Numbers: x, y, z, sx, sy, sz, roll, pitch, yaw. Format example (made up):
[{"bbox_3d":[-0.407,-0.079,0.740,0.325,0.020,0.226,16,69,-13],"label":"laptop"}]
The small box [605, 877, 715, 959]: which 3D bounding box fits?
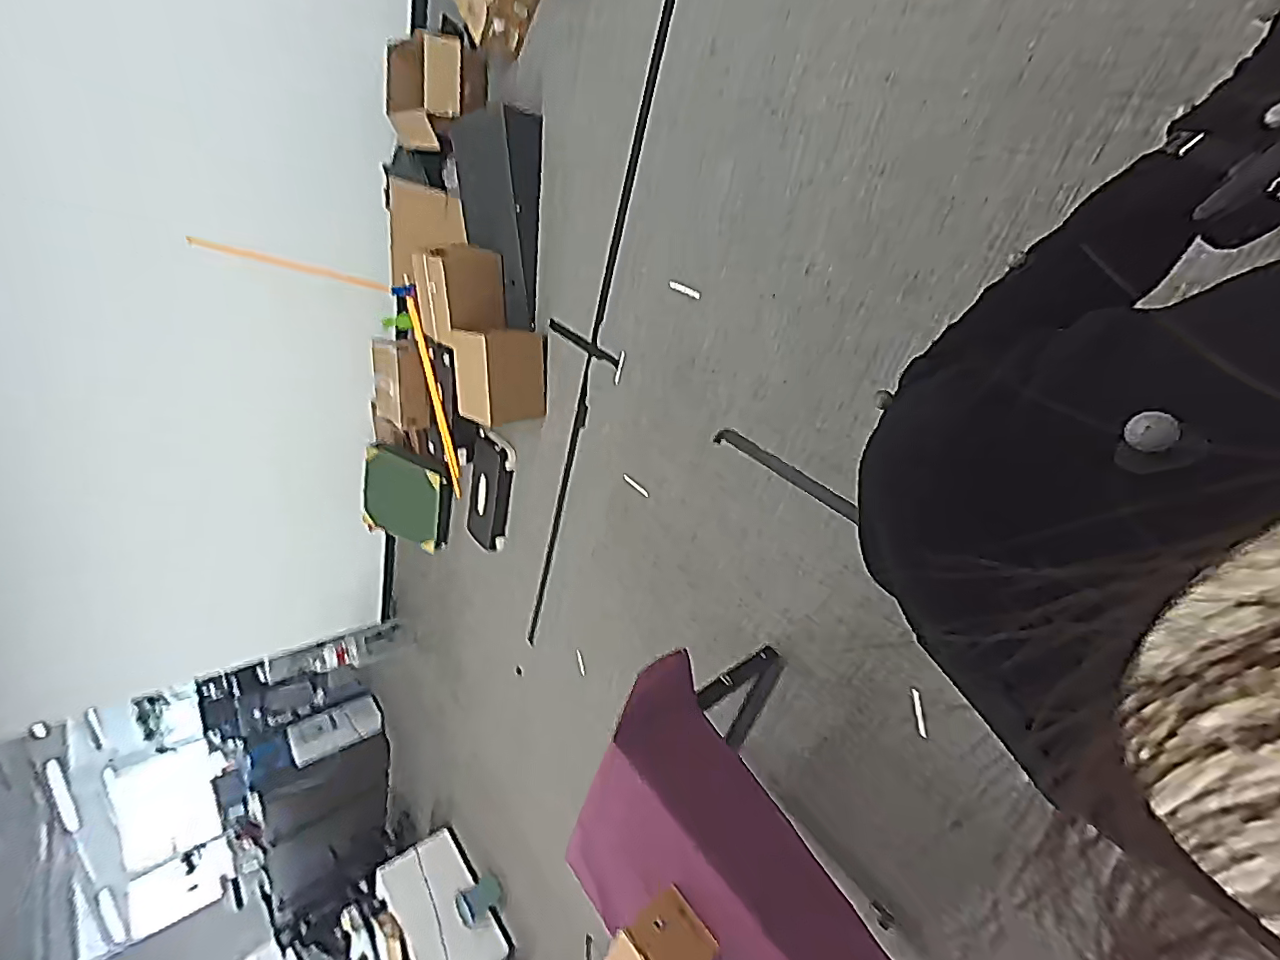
[{"bbox_3d":[0.049,1.083,1.257,0.168,0.176,0.179,39,125,35],"label":"small box"}]
